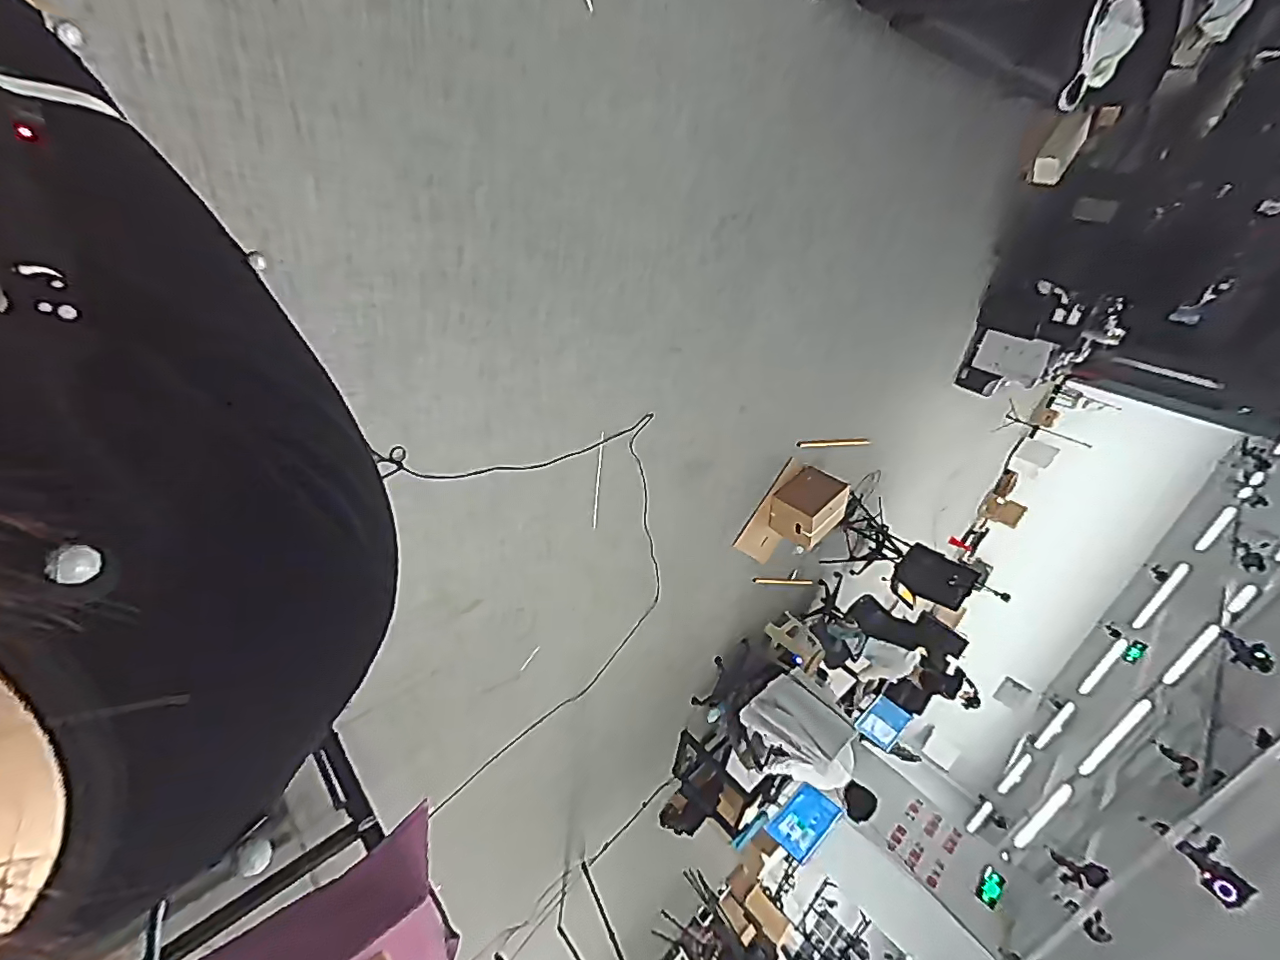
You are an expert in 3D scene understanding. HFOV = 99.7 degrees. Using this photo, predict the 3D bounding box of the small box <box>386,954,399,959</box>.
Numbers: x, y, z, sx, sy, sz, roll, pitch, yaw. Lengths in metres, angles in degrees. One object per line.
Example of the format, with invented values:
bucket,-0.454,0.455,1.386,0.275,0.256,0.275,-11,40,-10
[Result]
small box,-0.657,1.356,1.354,0.179,0.176,0.168,-23,133,-35
